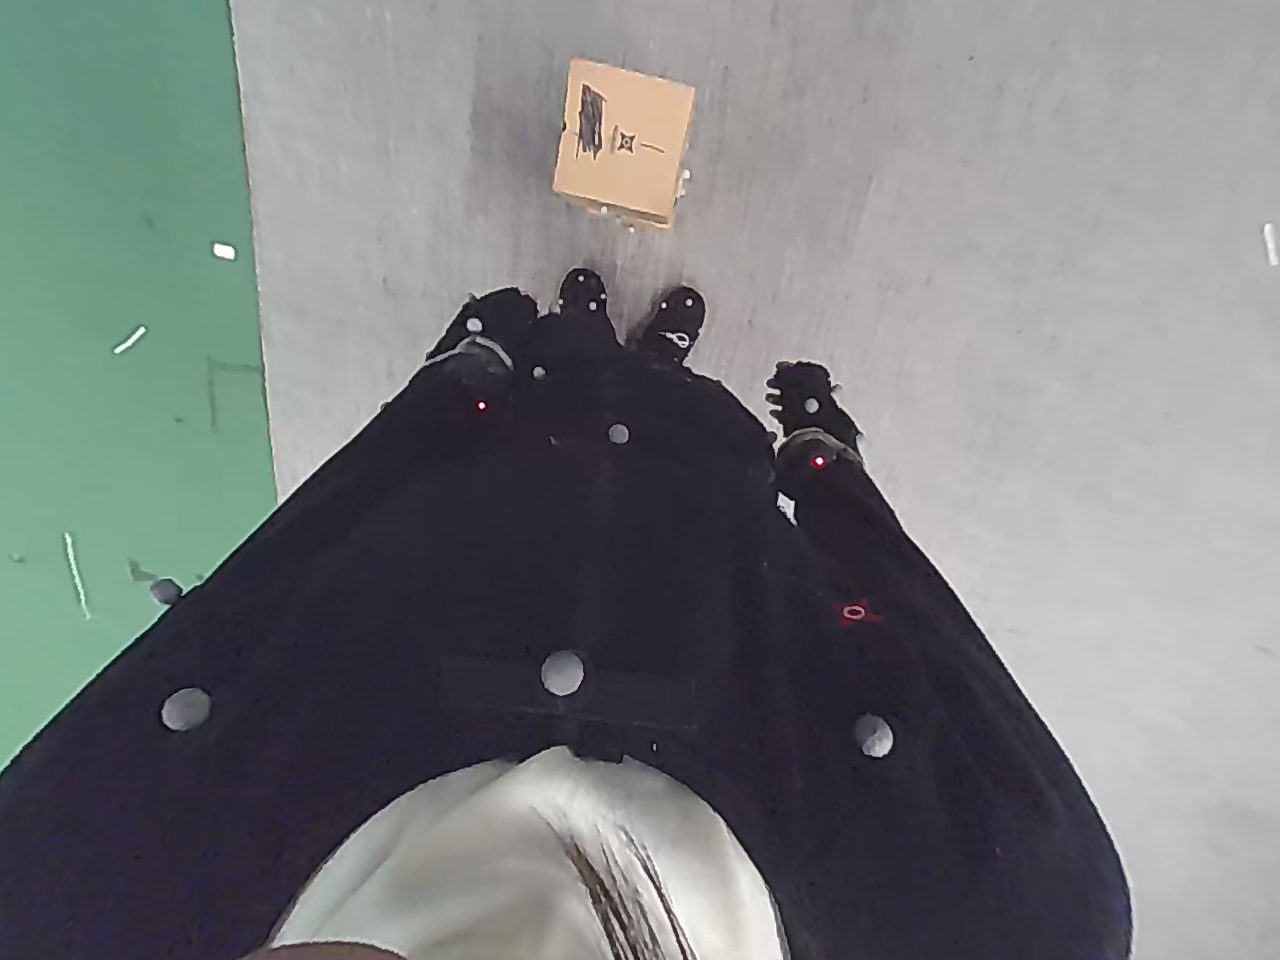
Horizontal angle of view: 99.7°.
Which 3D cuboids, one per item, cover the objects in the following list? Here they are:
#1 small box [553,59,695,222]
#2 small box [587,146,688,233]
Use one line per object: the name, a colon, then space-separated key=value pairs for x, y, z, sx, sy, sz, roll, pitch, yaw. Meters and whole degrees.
small box: x=-0.022 y=-0.510 z=0.840 sx=0.179 sy=0.176 sz=0.168 roll=13 pitch=112 yaw=-2
small box: x=-0.004 y=-0.629 z=1.144 sx=0.179 sy=0.176 sz=0.168 roll=12 pitch=112 yaw=-2
